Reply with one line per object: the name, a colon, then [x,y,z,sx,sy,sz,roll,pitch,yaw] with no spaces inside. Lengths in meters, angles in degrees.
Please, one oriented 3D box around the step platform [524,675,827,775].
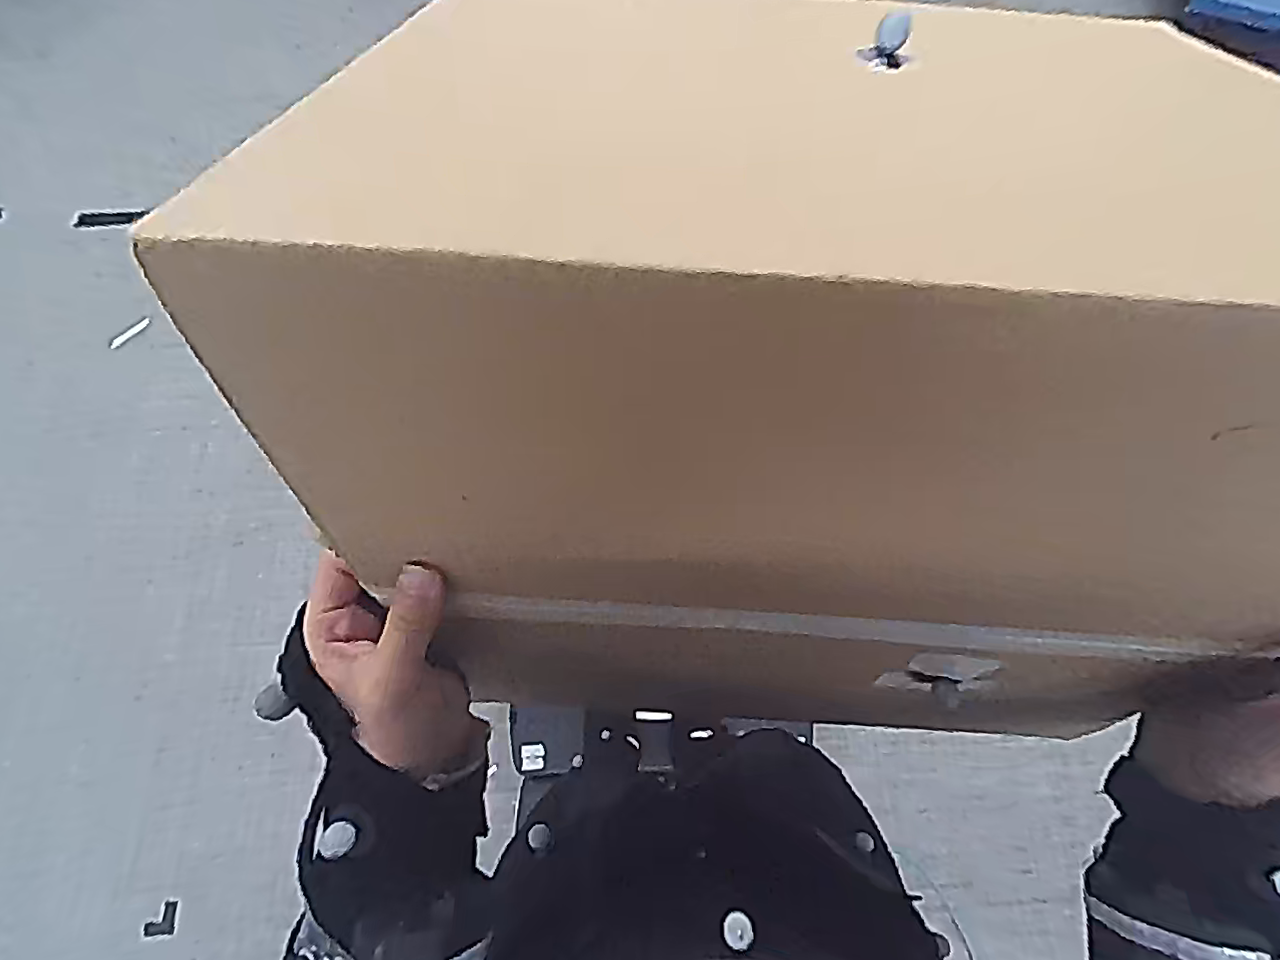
step platform: [0.077,0.496,1.258,0.684,0.204,0.286,3,75,0]
